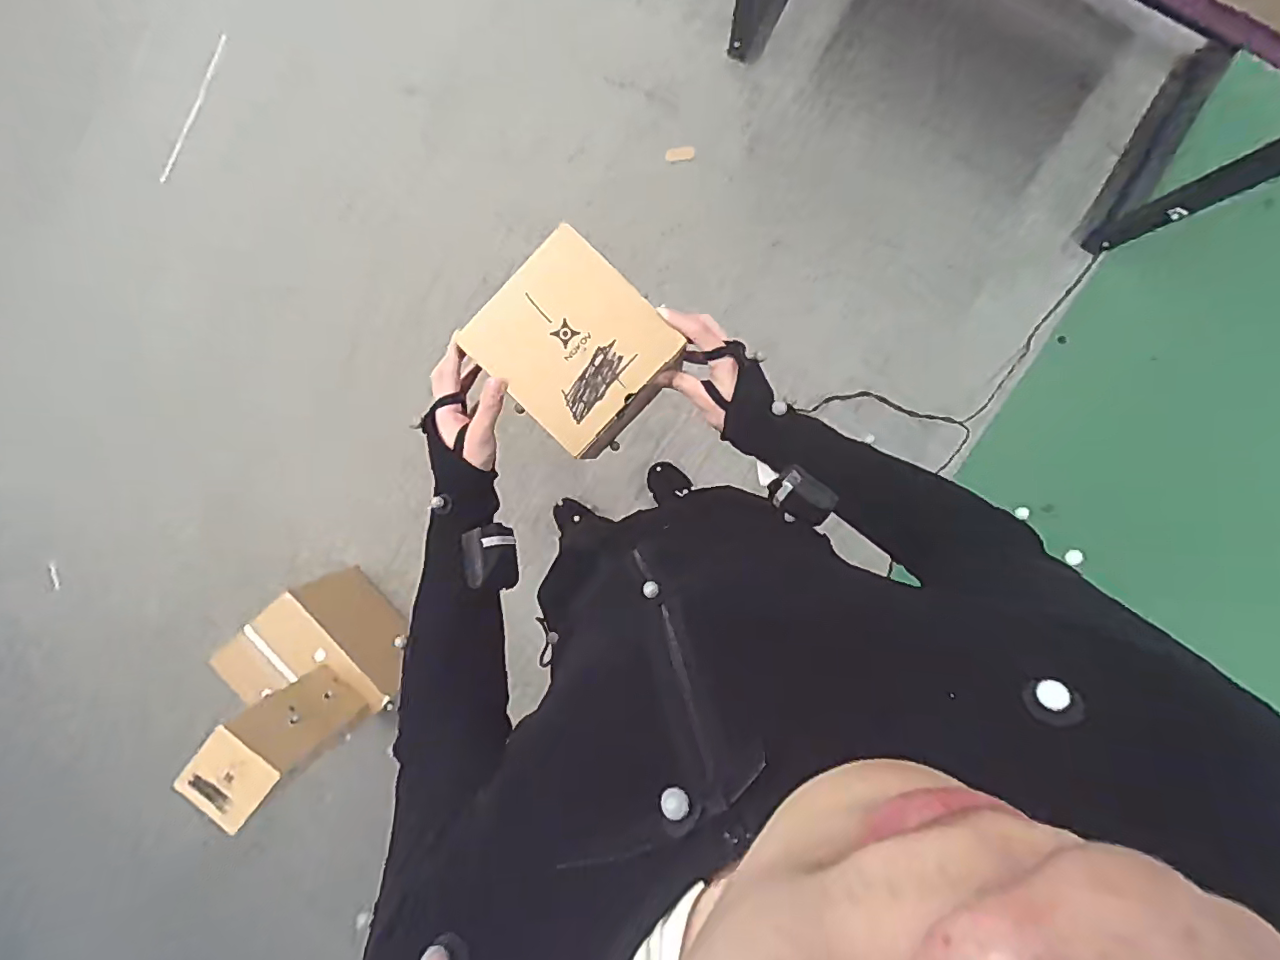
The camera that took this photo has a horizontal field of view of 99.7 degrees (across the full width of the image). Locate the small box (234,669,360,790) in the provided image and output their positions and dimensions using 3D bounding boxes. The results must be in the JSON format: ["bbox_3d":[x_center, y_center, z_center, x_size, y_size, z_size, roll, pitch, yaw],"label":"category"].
[{"bbox_3d":[-0.831,0.604,1.336,0.168,0.176,0.179,41,94,0],"label":"small box"}]
